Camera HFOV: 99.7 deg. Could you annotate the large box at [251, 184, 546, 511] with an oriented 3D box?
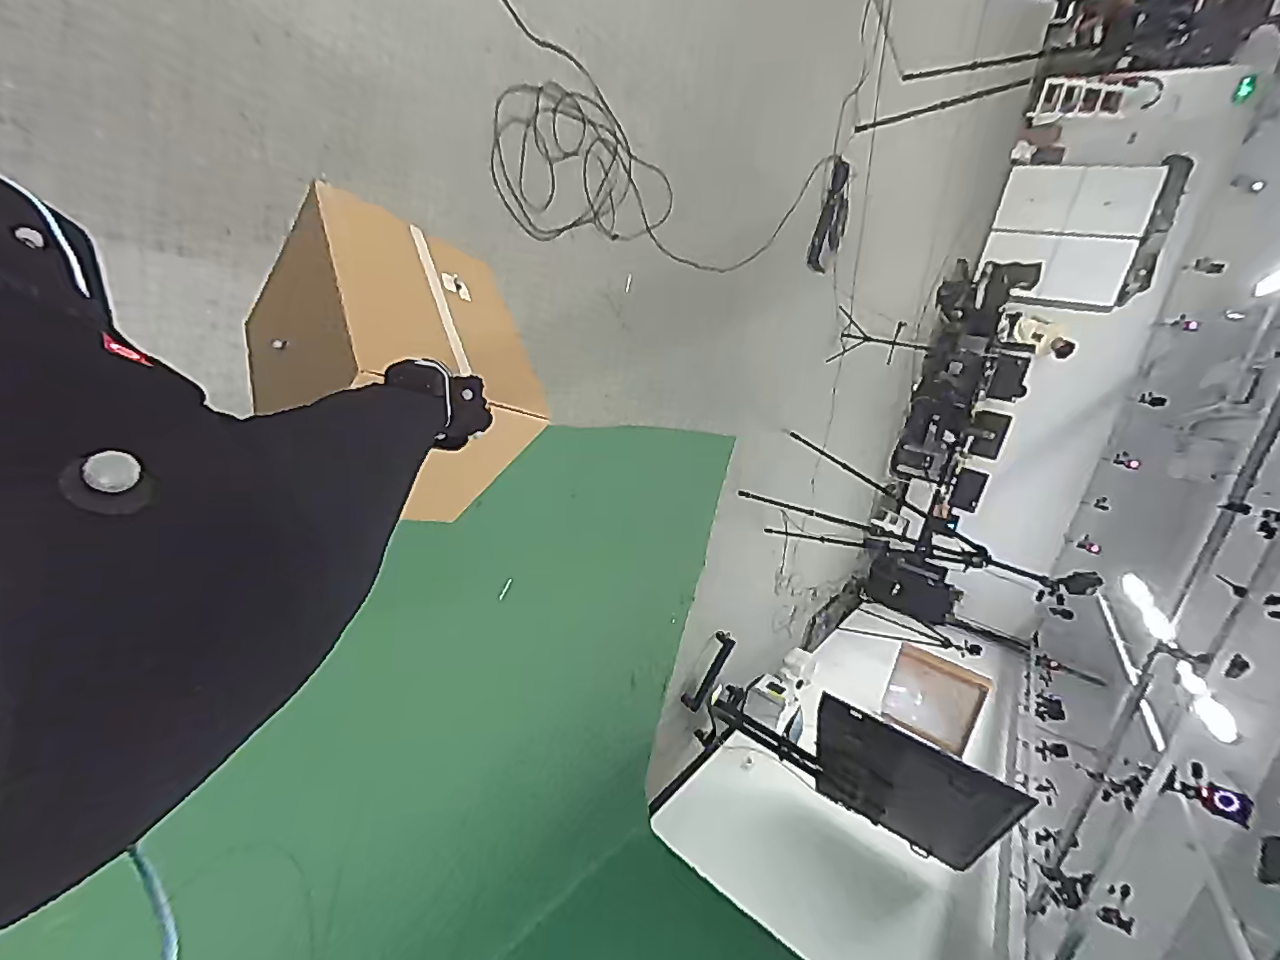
[{"bbox_3d":[-0.427,-0.195,0.930,0.320,0.408,0.320,-41,151,27],"label":"large box"}]
